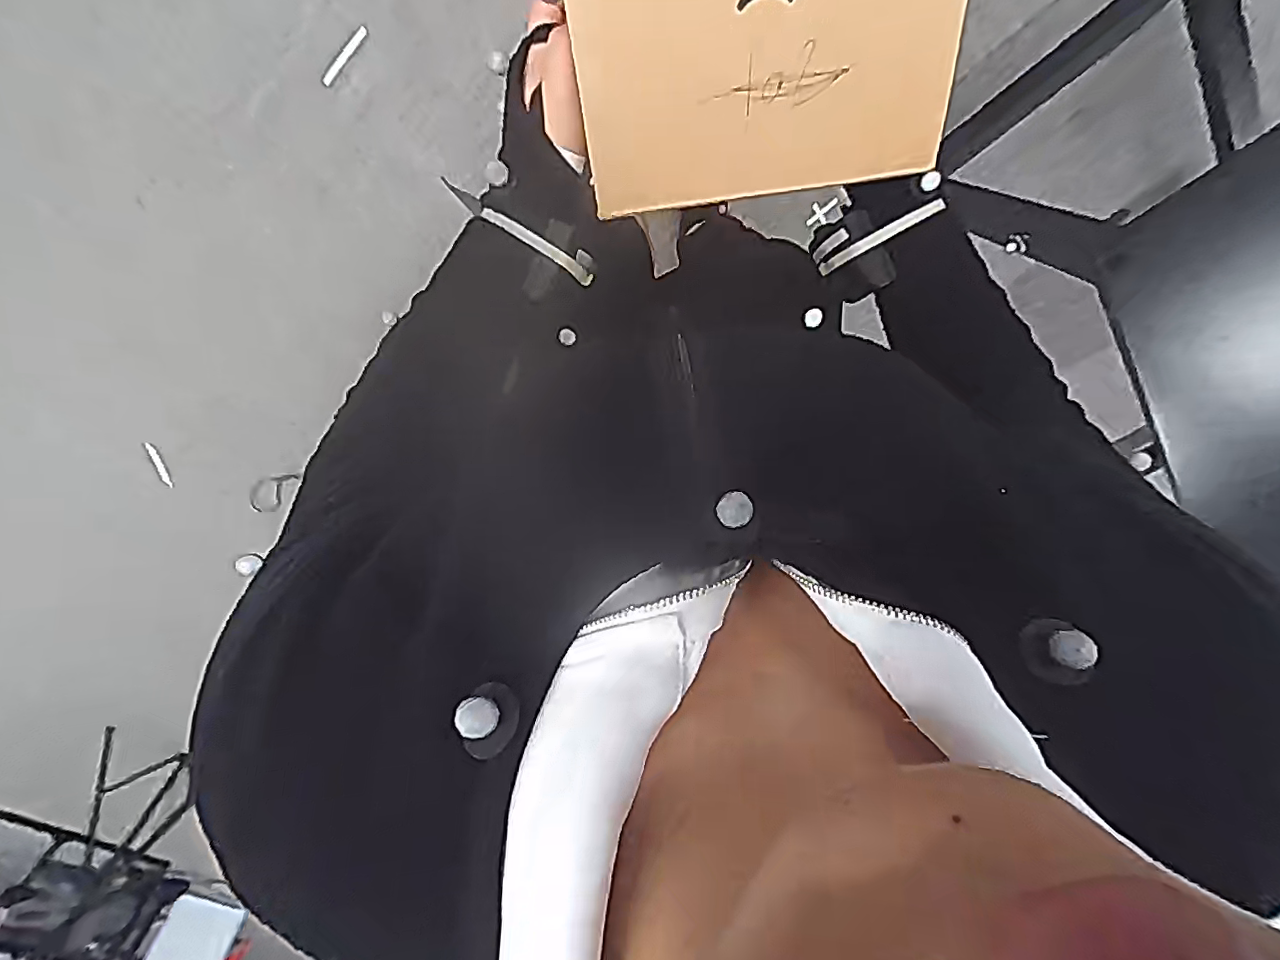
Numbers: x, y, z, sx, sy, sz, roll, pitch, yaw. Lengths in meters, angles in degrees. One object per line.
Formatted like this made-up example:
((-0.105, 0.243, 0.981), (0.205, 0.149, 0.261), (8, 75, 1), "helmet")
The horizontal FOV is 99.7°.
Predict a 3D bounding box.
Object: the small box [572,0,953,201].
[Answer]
((0.050, -0.269, 0.283), (0.168, 0.176, 0.179), (-5, 130, 5), "small box")
